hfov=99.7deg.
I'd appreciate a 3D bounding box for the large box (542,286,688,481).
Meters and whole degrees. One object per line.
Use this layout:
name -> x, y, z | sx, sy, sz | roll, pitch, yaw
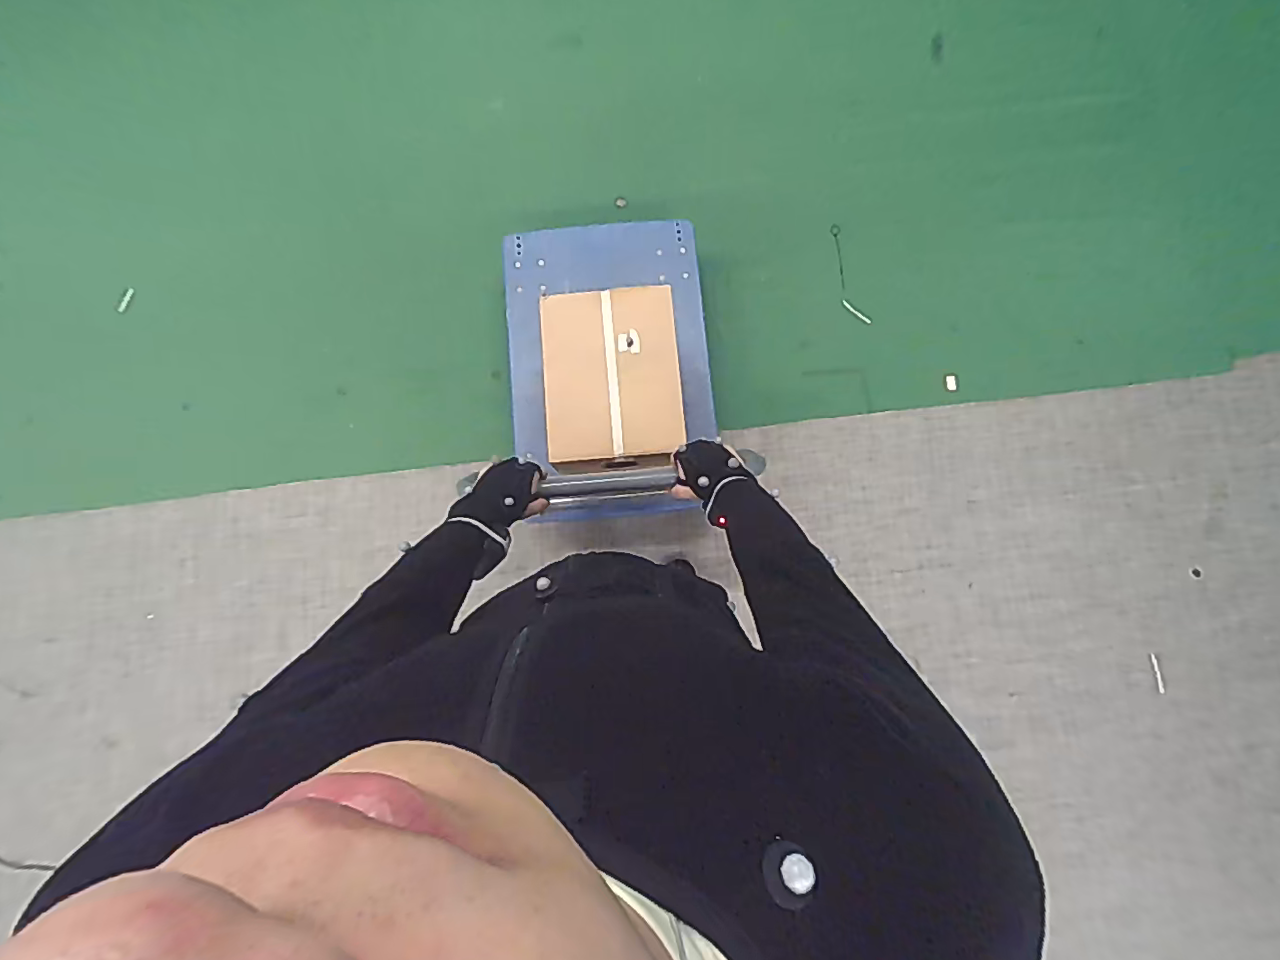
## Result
large box -> -0.059, -0.227, 1.397 | 0.320, 0.320, 0.408 | -5, 81, 0
